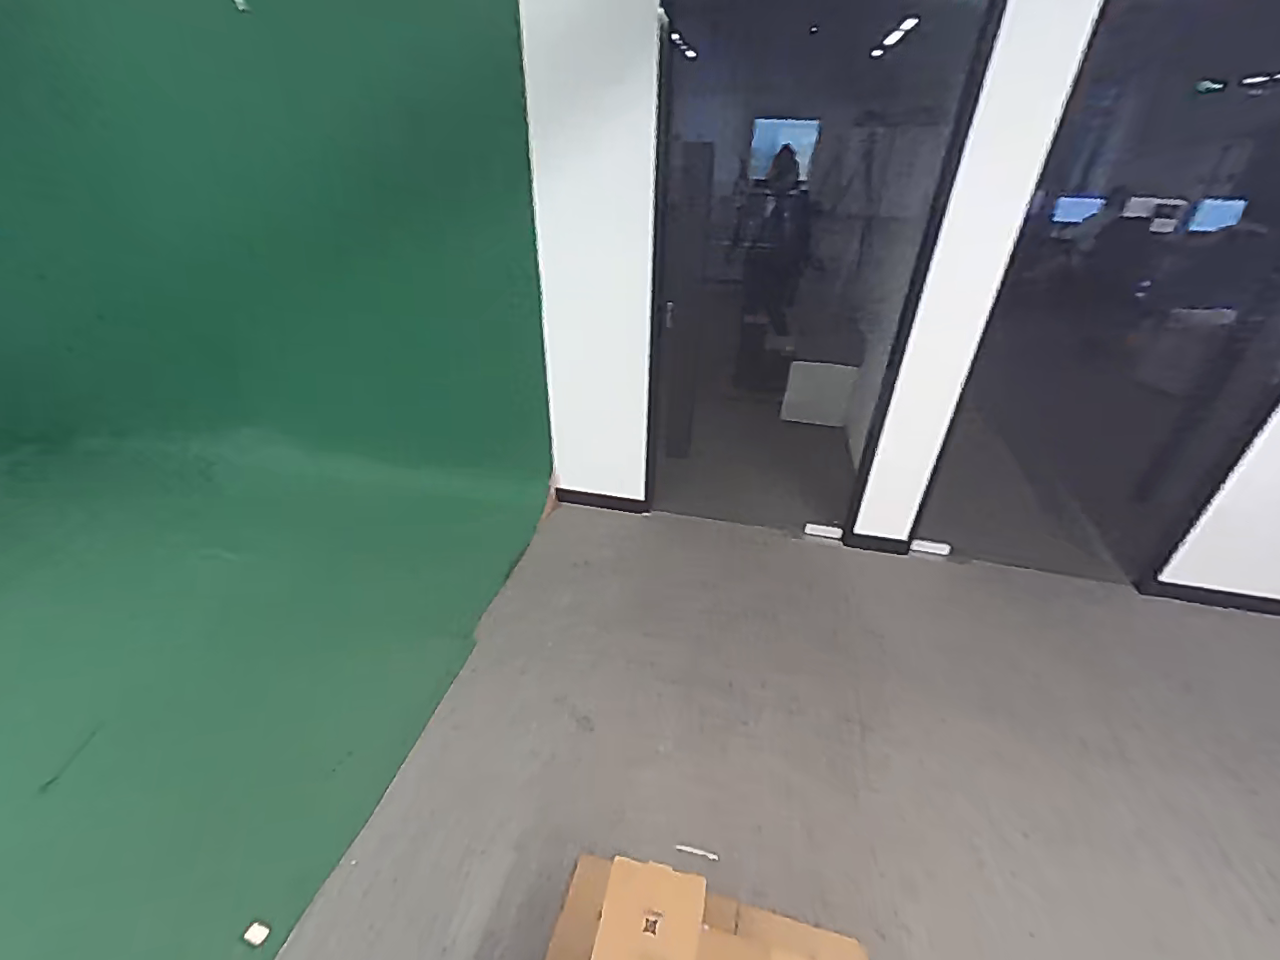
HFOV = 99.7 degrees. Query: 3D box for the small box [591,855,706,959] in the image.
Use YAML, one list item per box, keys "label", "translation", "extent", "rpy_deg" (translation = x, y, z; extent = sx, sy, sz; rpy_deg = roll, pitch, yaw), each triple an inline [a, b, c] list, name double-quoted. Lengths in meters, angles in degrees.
- label: "small box"
  translation: [0.014, 0.785, 0.911]
  extent: [0.168, 0.176, 0.179]
  rpy_deg: [7, 31, 9]
